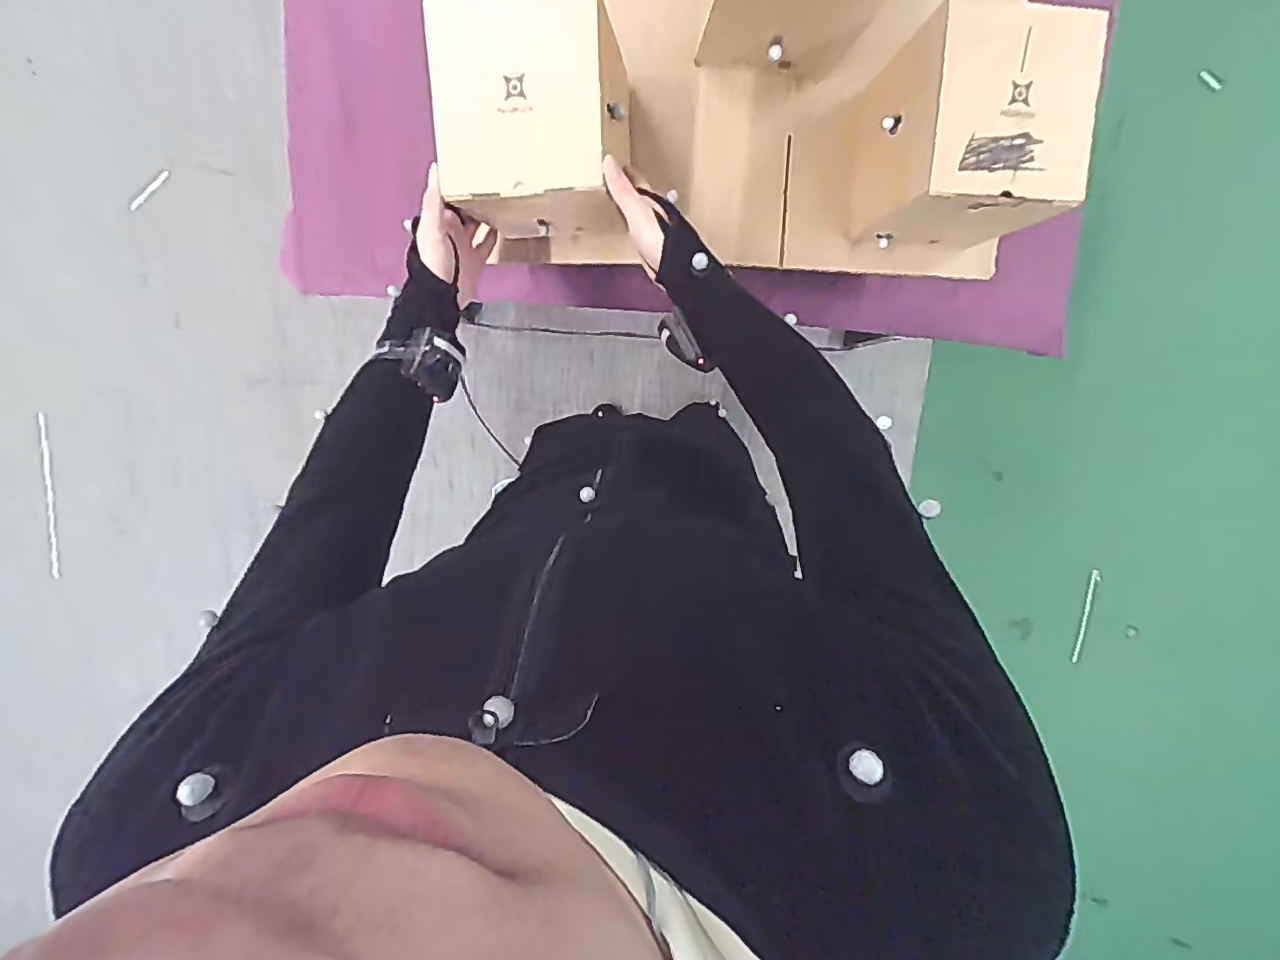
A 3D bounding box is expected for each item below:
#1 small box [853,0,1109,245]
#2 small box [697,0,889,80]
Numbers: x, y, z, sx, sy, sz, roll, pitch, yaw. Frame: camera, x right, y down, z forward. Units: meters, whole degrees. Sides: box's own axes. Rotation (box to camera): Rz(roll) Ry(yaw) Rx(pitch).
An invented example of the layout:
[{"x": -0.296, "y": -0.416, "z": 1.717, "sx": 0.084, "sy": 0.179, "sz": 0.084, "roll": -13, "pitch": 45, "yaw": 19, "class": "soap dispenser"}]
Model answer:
[{"x": 0.354, "y": -0.373, "z": 0.598, "sx": 0.168, "sy": 0.176, "sz": 0.179, "roll": 1, "pitch": 98, "yaw": -6, "class": "small box"}, {"x": 0.158, "y": -0.555, "z": 0.547, "sx": 0.168, "sy": 0.176, "sz": 0.179, "roll": 2, "pitch": 99, "yaw": -6, "class": "small box"}]
